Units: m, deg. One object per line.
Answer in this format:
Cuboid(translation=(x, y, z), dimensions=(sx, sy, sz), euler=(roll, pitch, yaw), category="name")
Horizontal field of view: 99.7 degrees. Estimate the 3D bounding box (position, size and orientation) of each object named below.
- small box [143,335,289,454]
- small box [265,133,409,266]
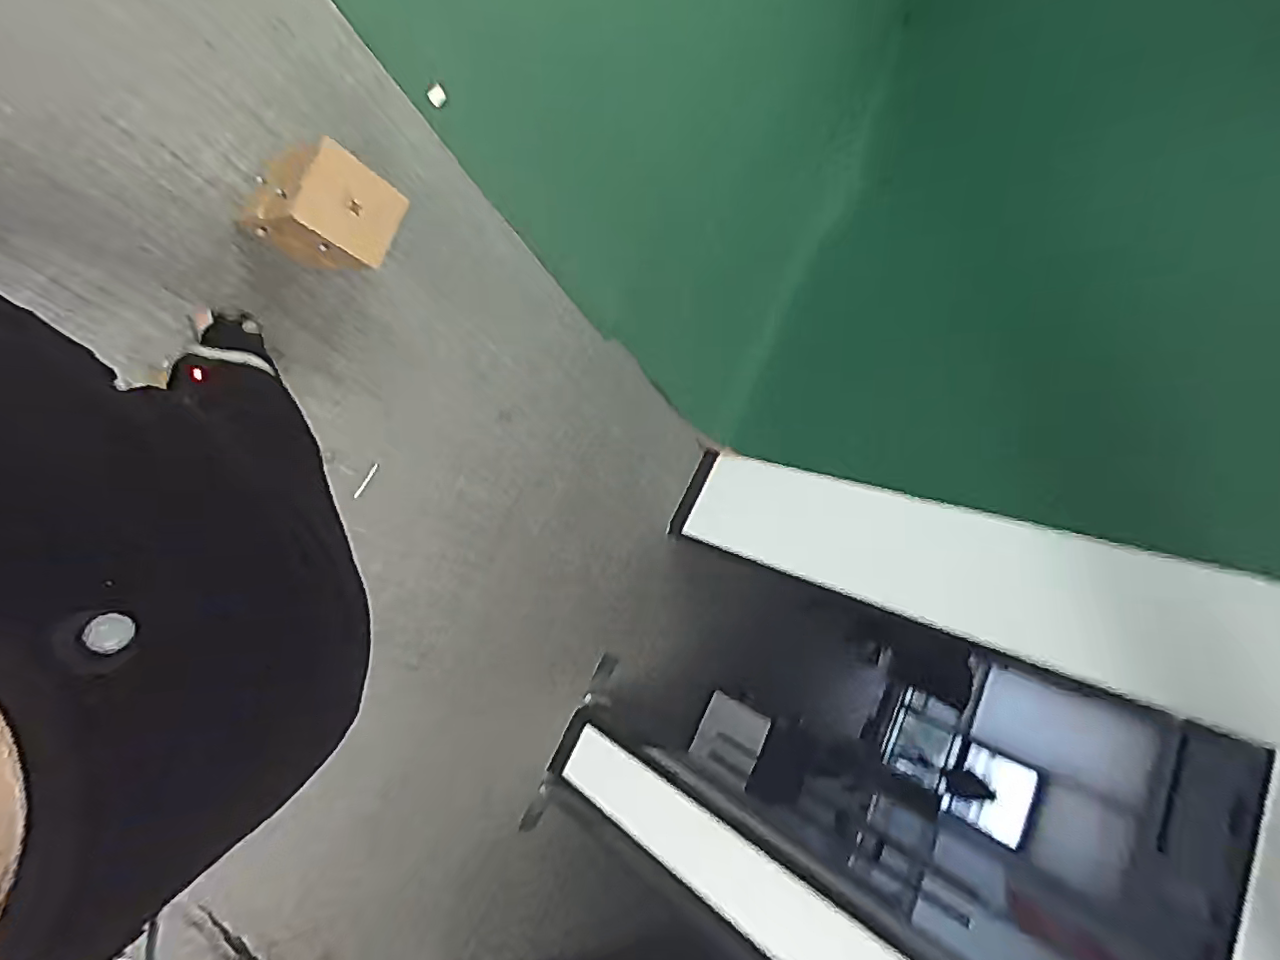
Cuboid(translation=(-0.902, -0.185, 1.149), dimensions=(0.179, 0.176, 0.168), euler=(-56, 139, -18), category="small box")
Cuboid(translation=(-0.613, -0.551, 1.090), dimensions=(0.179, 0.176, 0.168), euler=(29, 82, -52), category="small box")
